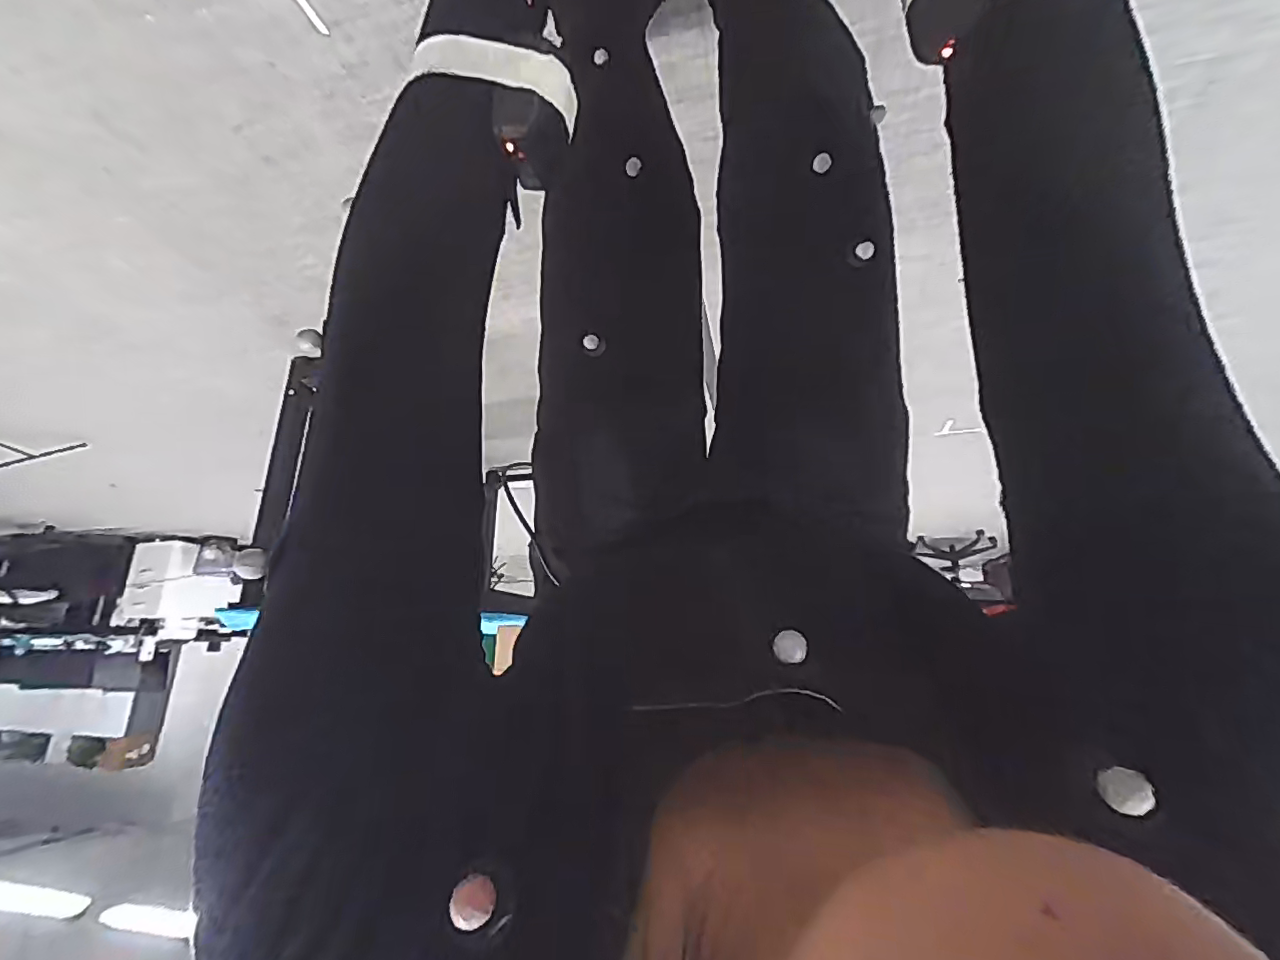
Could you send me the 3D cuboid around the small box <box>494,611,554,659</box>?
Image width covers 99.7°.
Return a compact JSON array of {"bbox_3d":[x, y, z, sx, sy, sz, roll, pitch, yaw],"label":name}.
[{"bbox_3d":[-0.436,0.589,2.050,0.179,0.176,0.168,-3,163,9],"label":"small box"}]
